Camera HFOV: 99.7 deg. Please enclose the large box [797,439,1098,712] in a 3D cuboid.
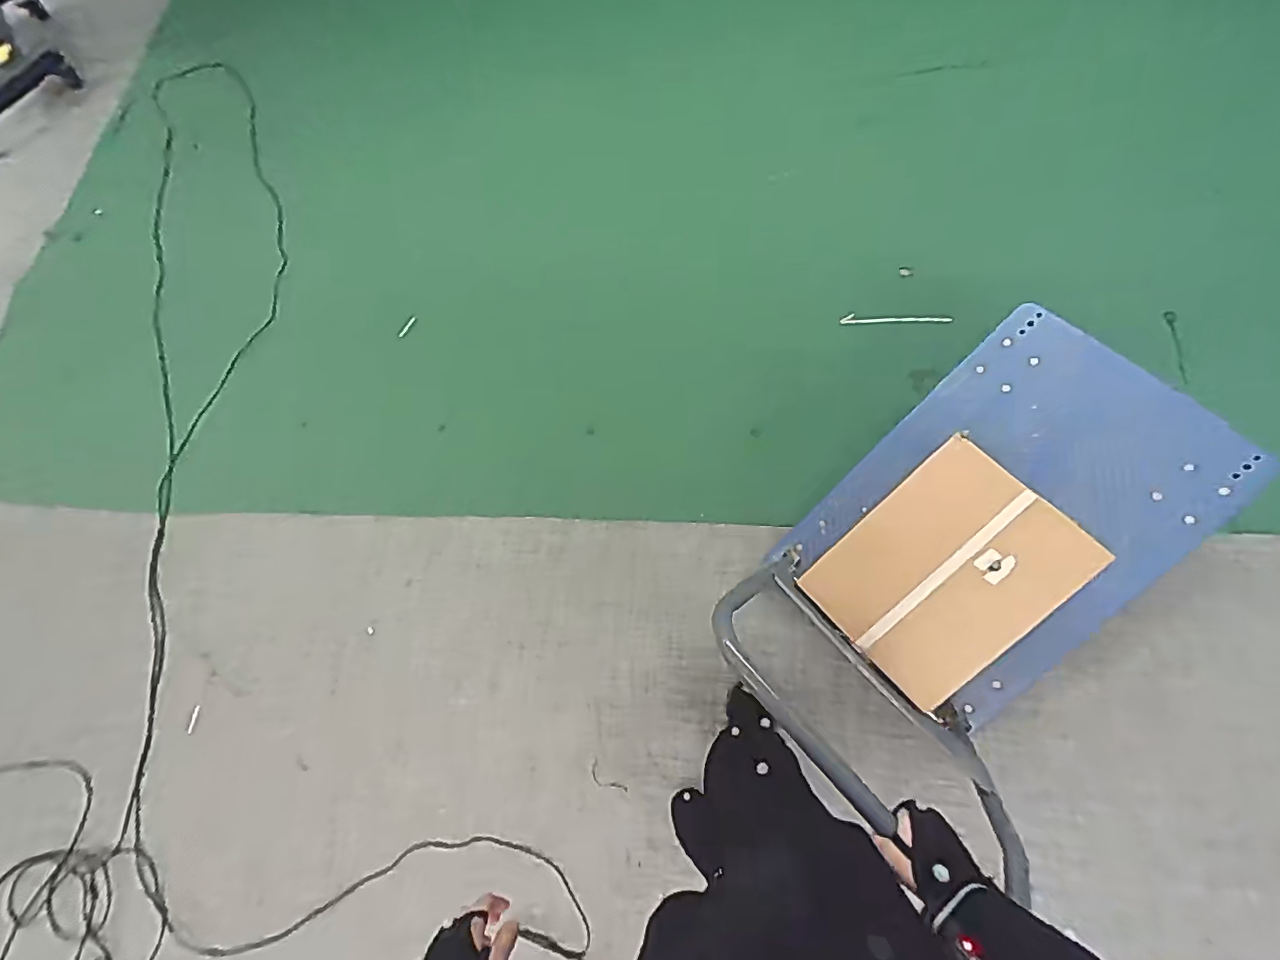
[{"bbox_3d":[0.583,0.189,1.113,0.408,0.320,0.320,-46,71,8],"label":"large box"}]
